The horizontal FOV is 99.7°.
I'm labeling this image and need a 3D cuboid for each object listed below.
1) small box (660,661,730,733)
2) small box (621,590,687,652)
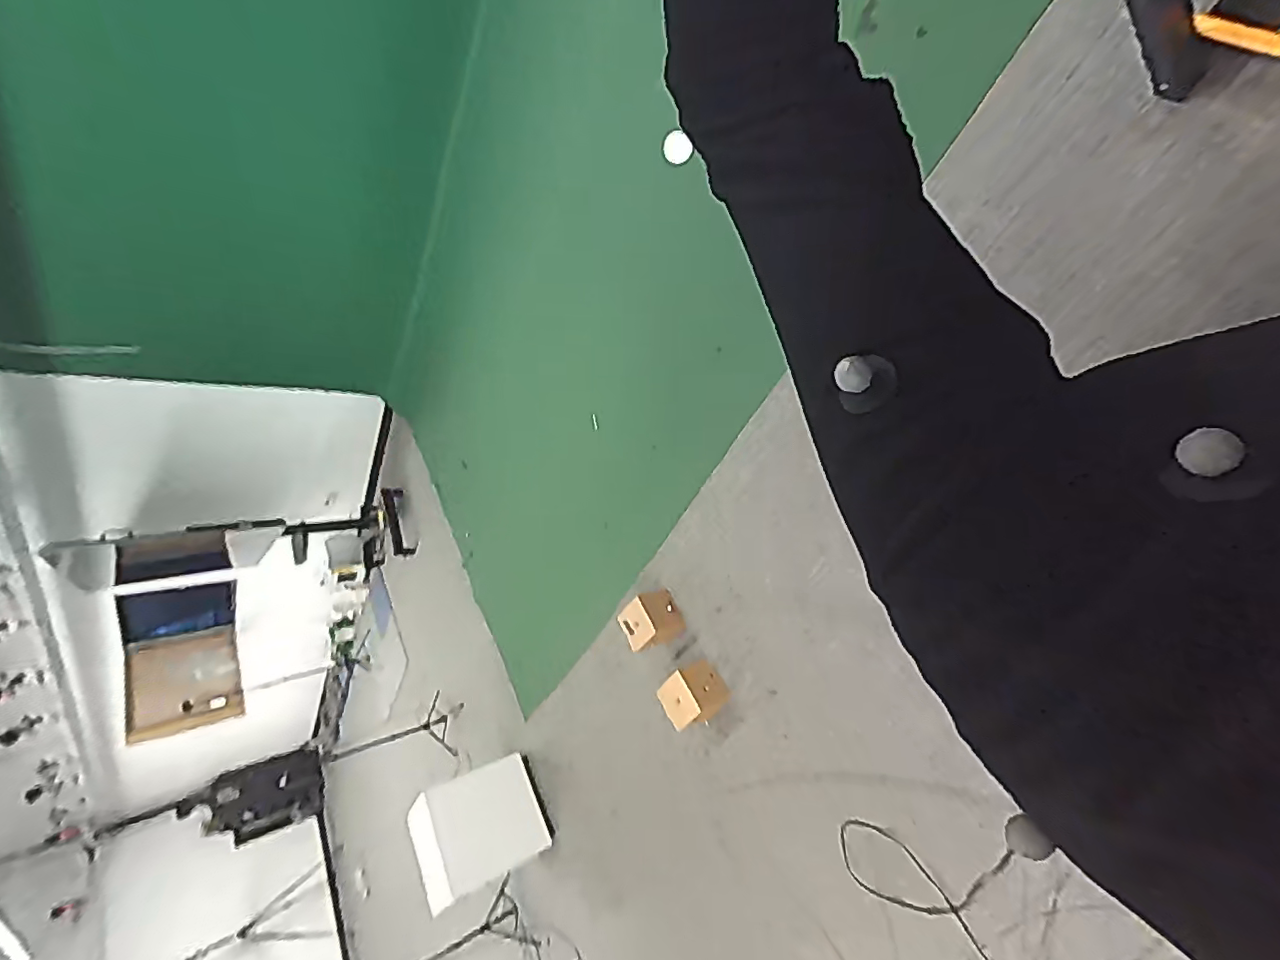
[{"bbox_3d":[0.210,0.800,2.011,0.168,0.176,0.179,56,131,32],"label":"small box"},{"bbox_3d":[0.057,0.565,2.176,0.179,0.176,0.168,-54,54,35],"label":"small box"}]
